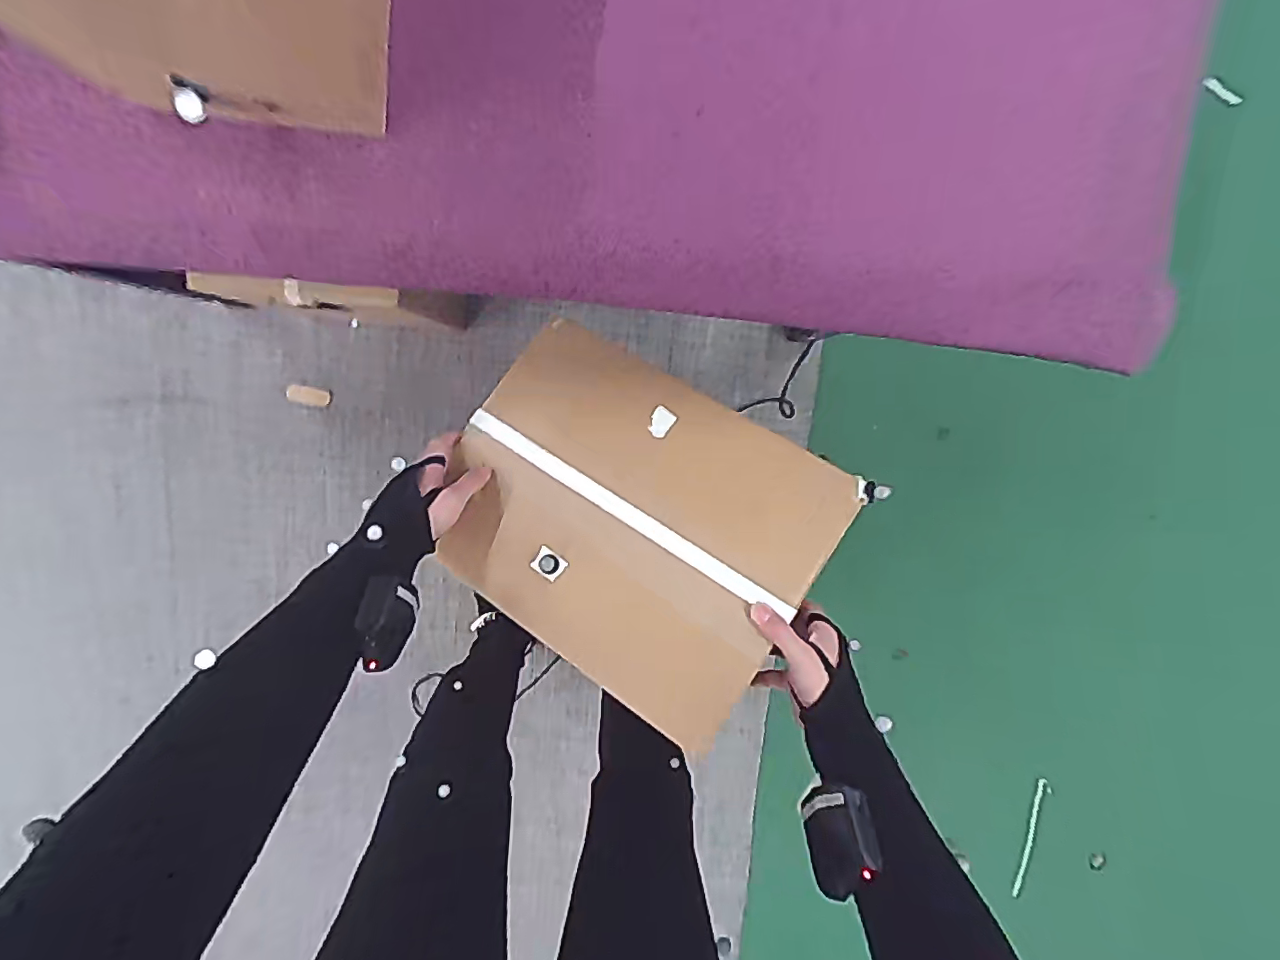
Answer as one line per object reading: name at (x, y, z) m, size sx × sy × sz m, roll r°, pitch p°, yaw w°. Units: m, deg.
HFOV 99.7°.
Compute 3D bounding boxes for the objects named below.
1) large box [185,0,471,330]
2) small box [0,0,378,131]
large box at (-0.485, -0.484, 0.907) m, size 0.320 × 0.320 × 0.408 m, roll 5°, pitch 98°, yaw -1°
small box at (-0.245, -0.311, 0.262) m, size 0.168 × 0.176 × 0.179 m, roll 7°, pitch 98°, yaw 0°
